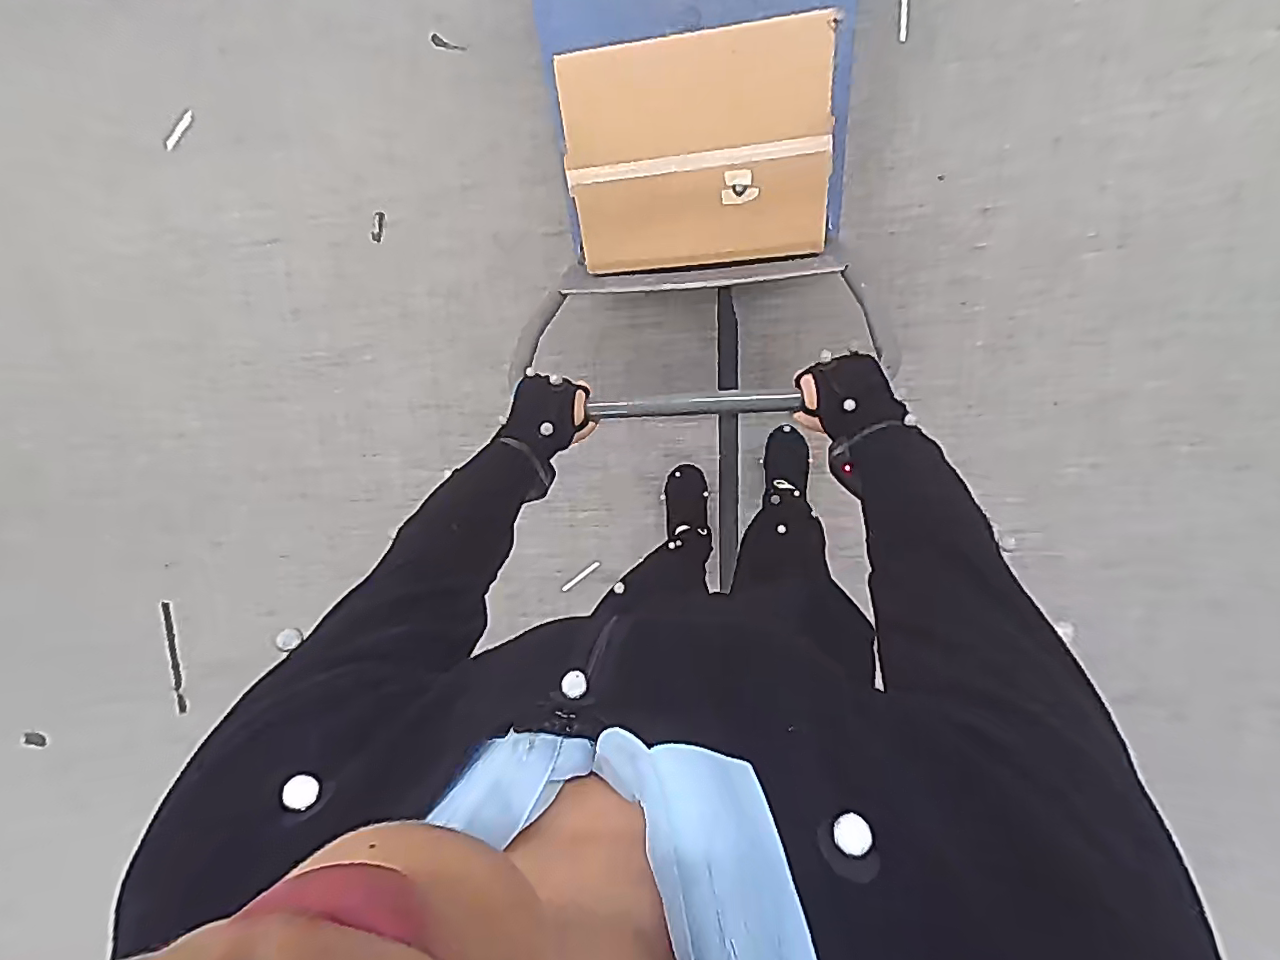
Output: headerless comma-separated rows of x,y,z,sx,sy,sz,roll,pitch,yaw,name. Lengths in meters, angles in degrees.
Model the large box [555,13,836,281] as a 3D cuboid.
0.102,-0.566,0.961,0.408,0.320,0.320,-3,123,9,large box
